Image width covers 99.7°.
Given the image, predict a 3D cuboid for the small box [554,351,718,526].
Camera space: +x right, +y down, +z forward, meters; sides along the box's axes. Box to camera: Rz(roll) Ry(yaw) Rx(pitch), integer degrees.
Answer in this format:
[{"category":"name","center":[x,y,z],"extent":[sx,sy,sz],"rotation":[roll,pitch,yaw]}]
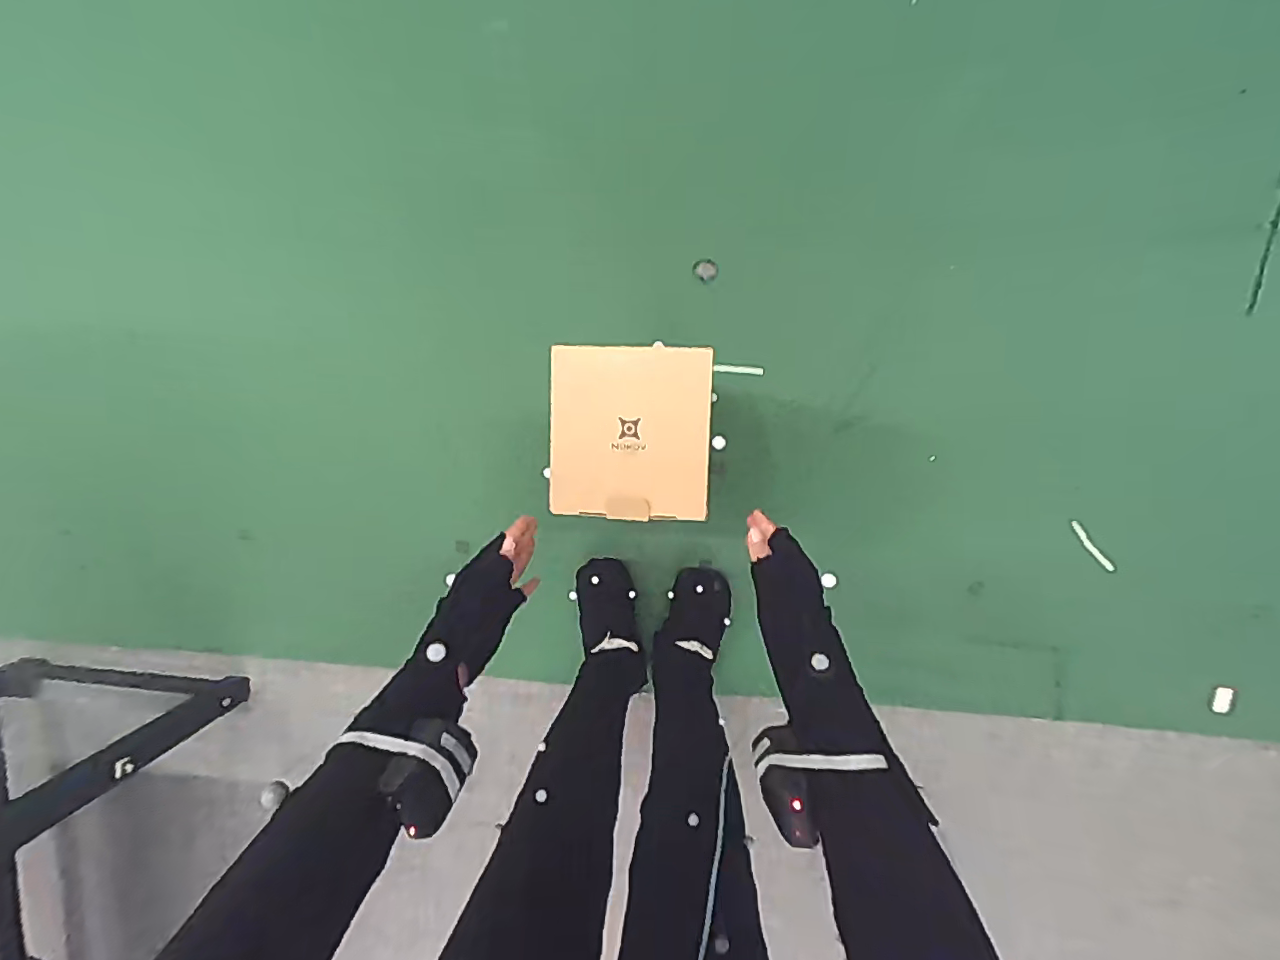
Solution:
[{"category":"small box","center":[0.001,-0.050,0.631],"extent":[0.168,0.176,0.179],"rotation":[2,97,6]}]
